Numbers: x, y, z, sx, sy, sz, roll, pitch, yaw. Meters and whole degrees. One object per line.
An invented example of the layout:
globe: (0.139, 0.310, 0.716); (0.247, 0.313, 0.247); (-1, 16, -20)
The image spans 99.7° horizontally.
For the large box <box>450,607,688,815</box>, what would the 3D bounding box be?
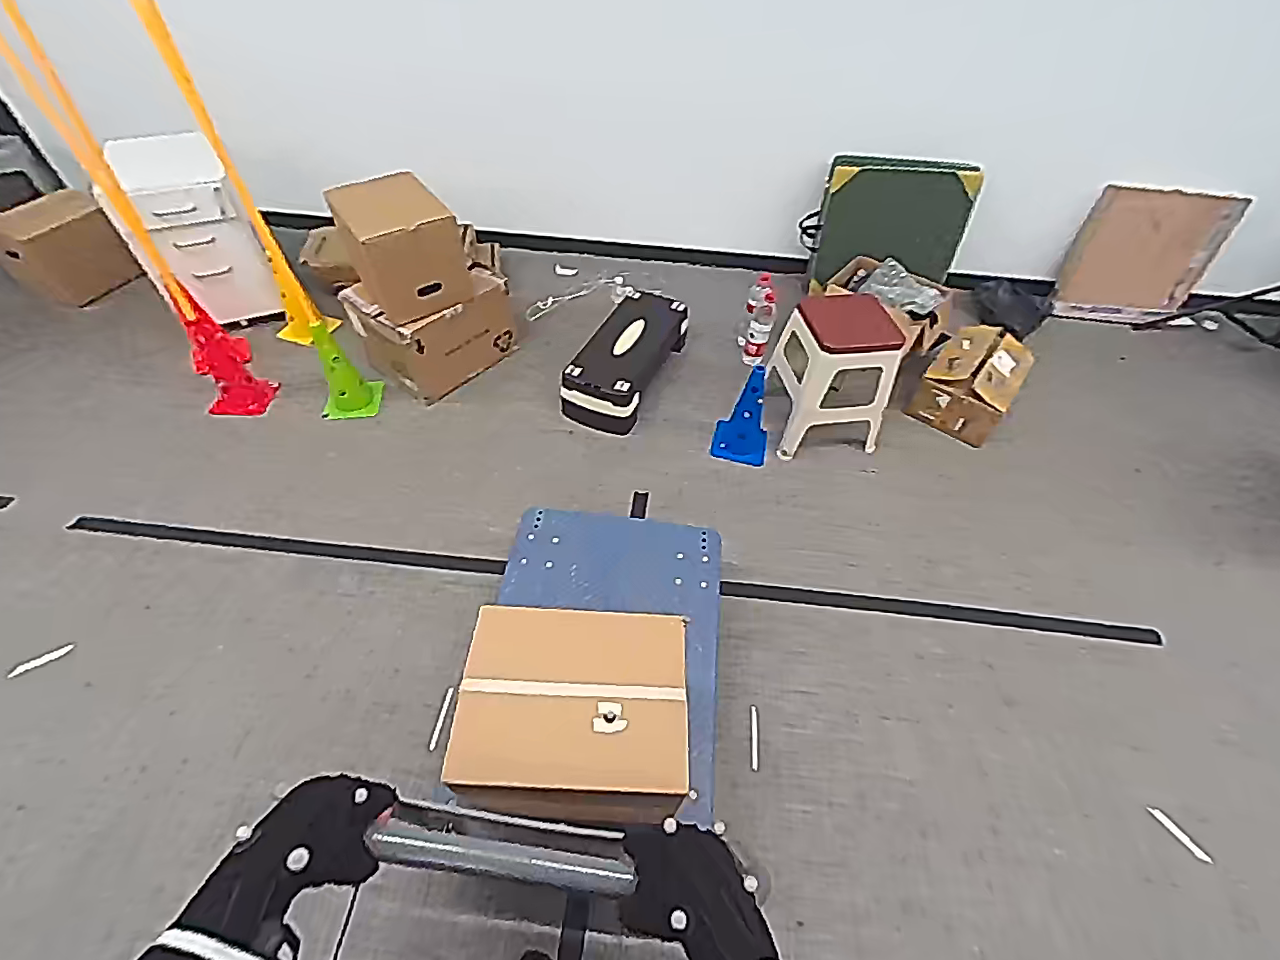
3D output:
large box: (-0.126, 0.477, 1.103); (0.408, 0.320, 0.320); (4, 50, -2)
